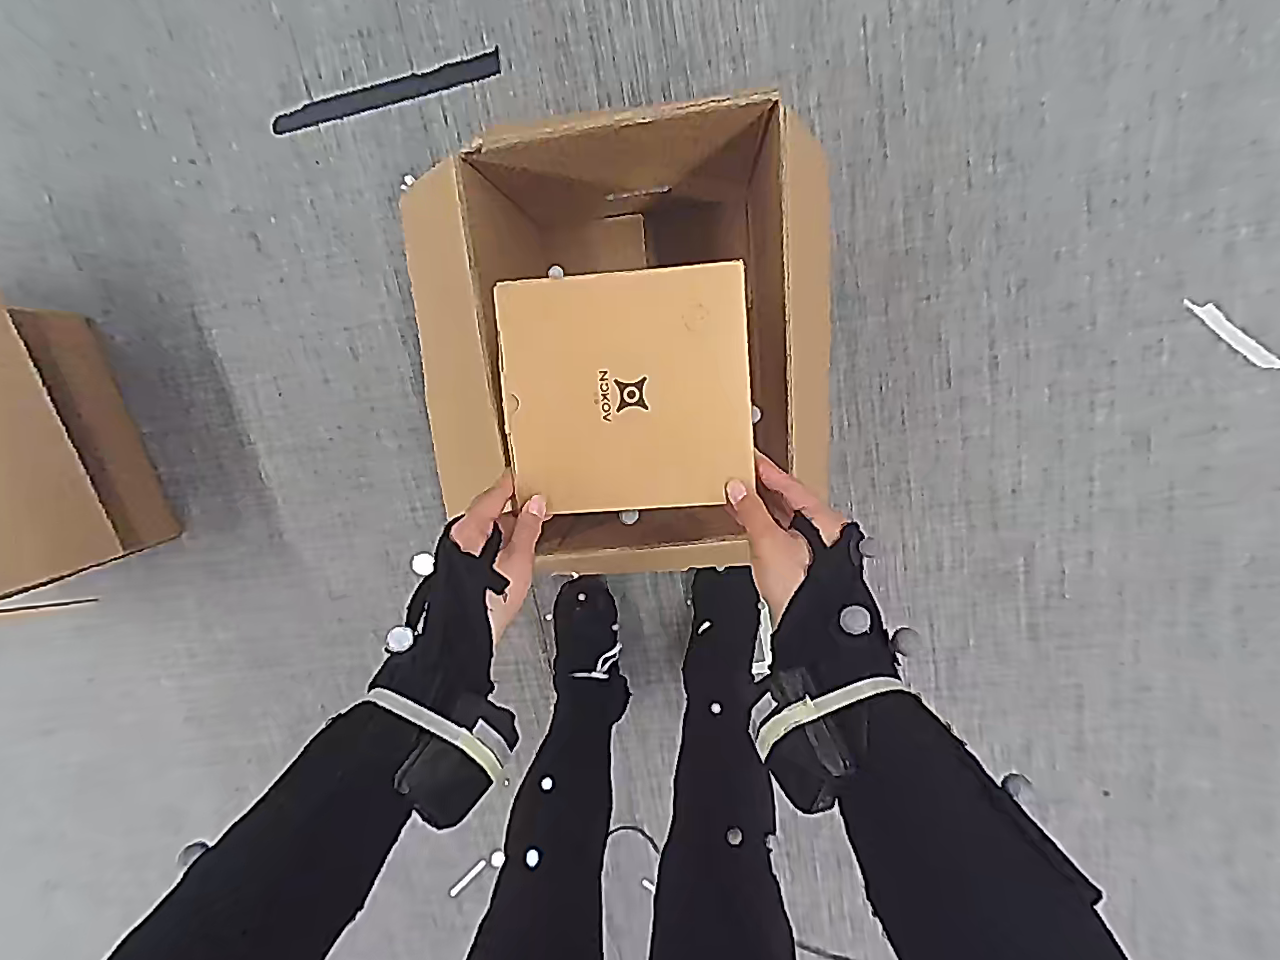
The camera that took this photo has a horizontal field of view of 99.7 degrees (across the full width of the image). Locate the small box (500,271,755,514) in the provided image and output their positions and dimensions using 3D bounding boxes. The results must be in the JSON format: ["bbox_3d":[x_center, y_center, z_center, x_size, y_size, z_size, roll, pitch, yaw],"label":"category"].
[{"bbox_3d":[-0.003,-0.070,0.467,0.179,0.176,0.168,-4,96,6],"label":"small box"}]
